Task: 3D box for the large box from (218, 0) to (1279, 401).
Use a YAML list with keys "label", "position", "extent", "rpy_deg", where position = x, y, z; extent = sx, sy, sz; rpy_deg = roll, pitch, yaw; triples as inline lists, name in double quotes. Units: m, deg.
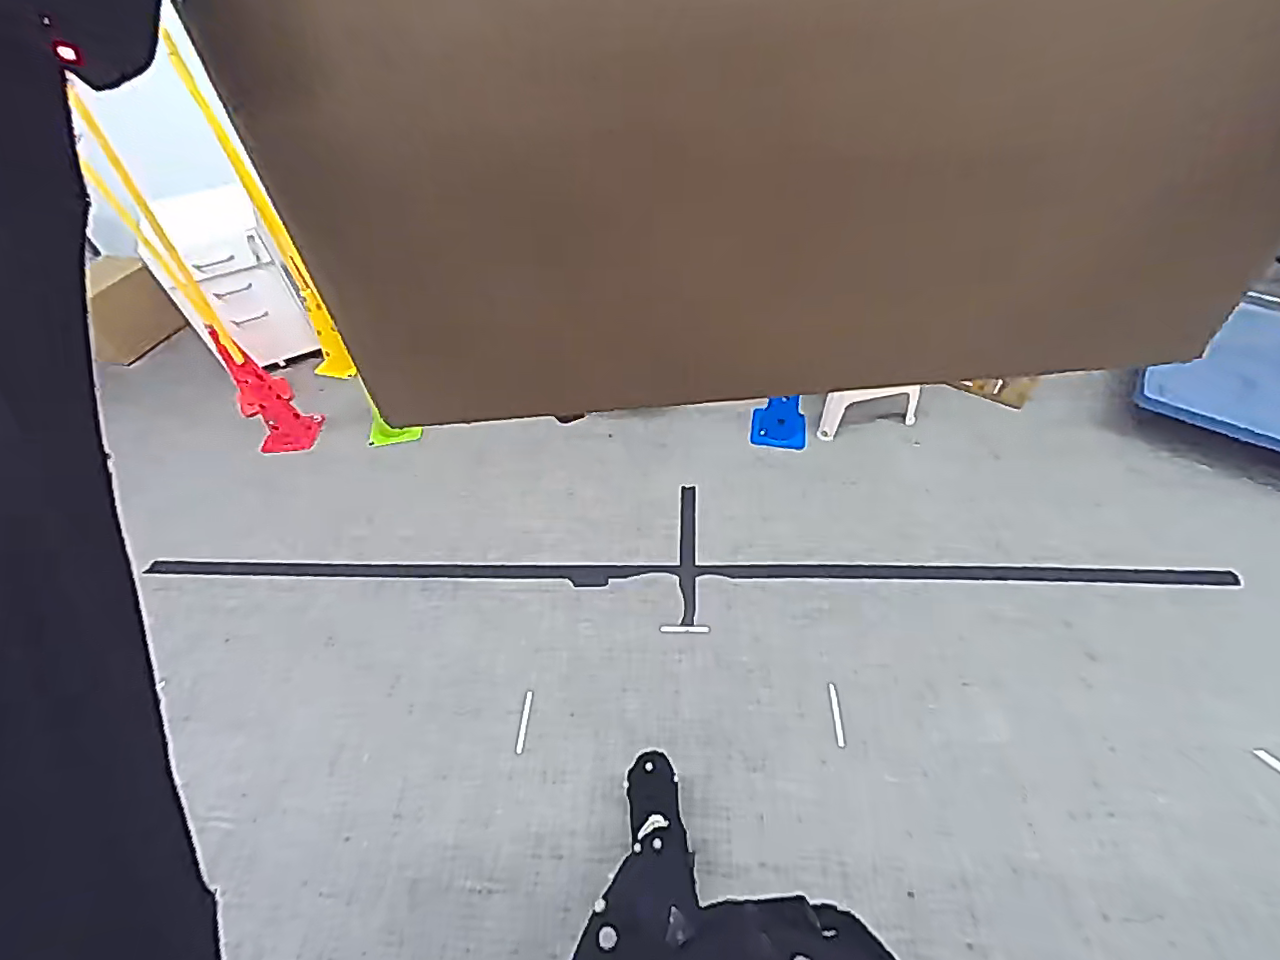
- label: "large box"
  position: [0.052, -0.264, 0.280]
  extent: [0.408, 0.320, 0.320]
  rpy_deg: [-5, 45, -1]
